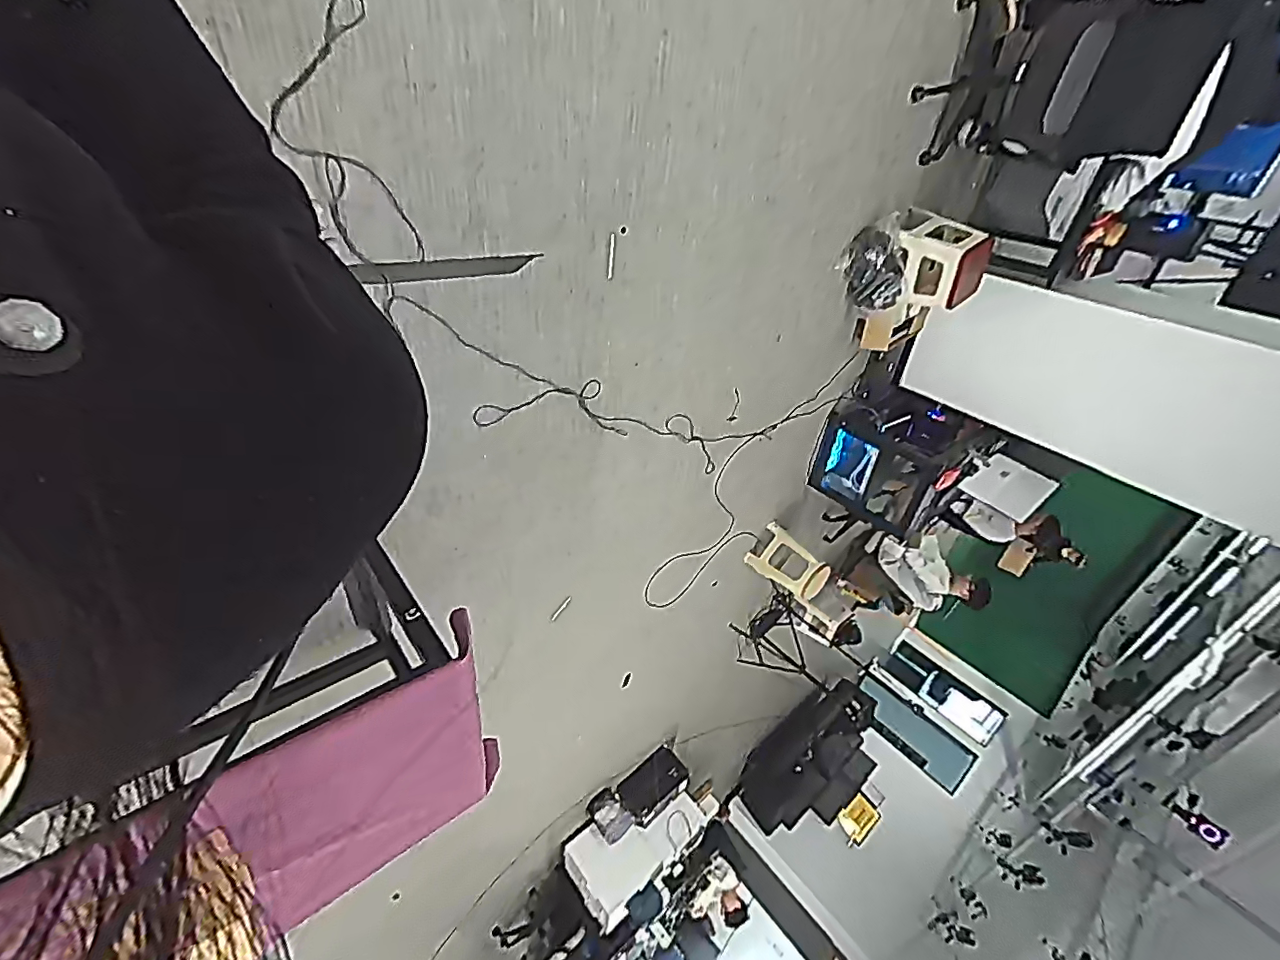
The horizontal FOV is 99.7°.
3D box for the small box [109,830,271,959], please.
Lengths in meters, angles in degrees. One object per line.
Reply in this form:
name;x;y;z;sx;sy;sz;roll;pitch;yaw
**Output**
small box;-0.757;0.745;0.918;0.168;0.176;0.179;-21;134;-37
